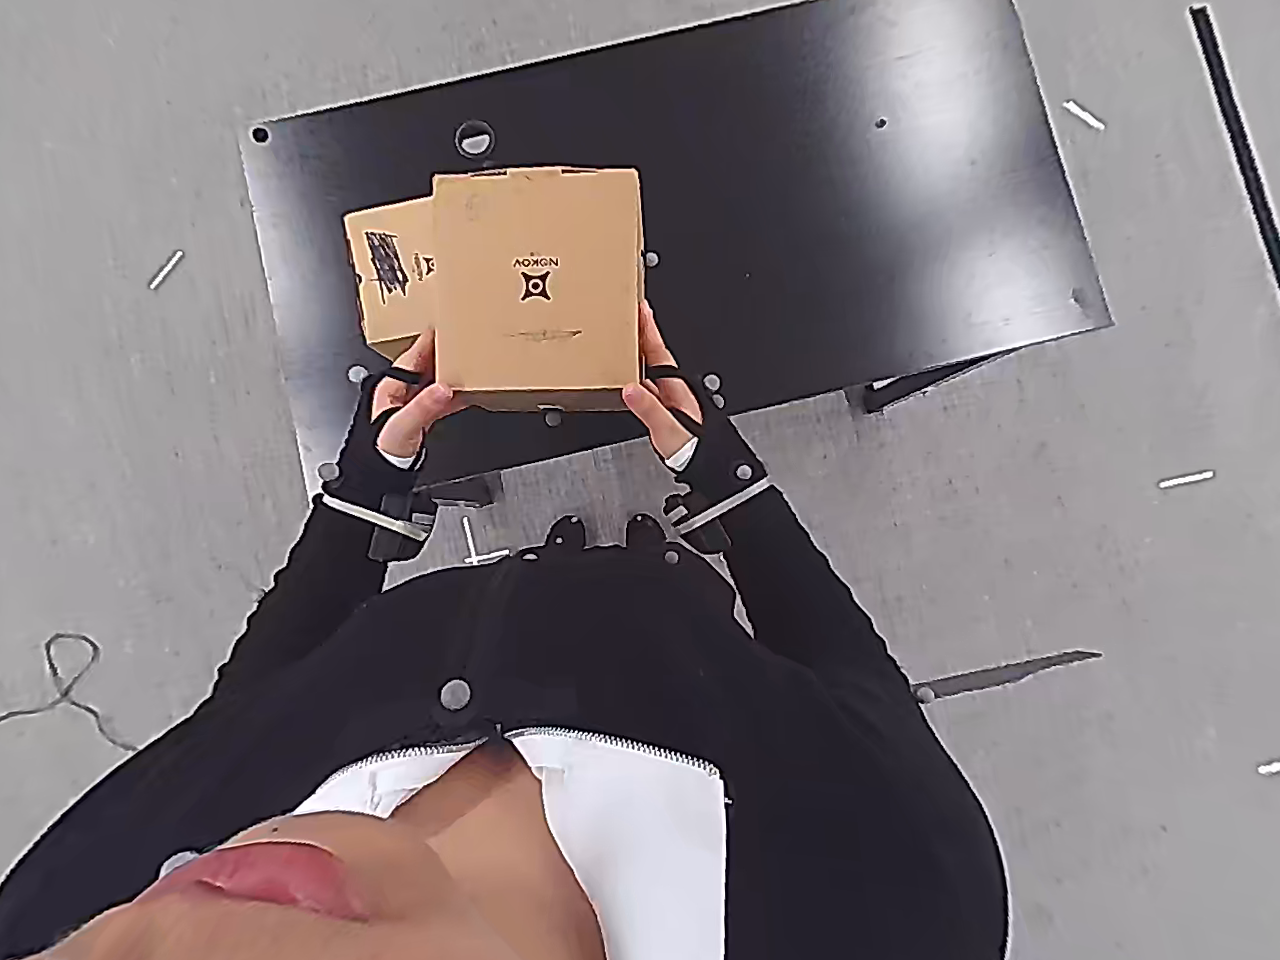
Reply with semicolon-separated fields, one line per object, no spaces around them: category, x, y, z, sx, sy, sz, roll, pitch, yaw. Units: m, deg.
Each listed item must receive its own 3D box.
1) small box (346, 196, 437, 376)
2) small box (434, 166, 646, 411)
small box;-0.255;-0.251;0.725;0.179;0.176;0.168;-12;86;-1
small box;-0.081;-0.164;0.512;0.168;0.176;0.179;0;91;2
